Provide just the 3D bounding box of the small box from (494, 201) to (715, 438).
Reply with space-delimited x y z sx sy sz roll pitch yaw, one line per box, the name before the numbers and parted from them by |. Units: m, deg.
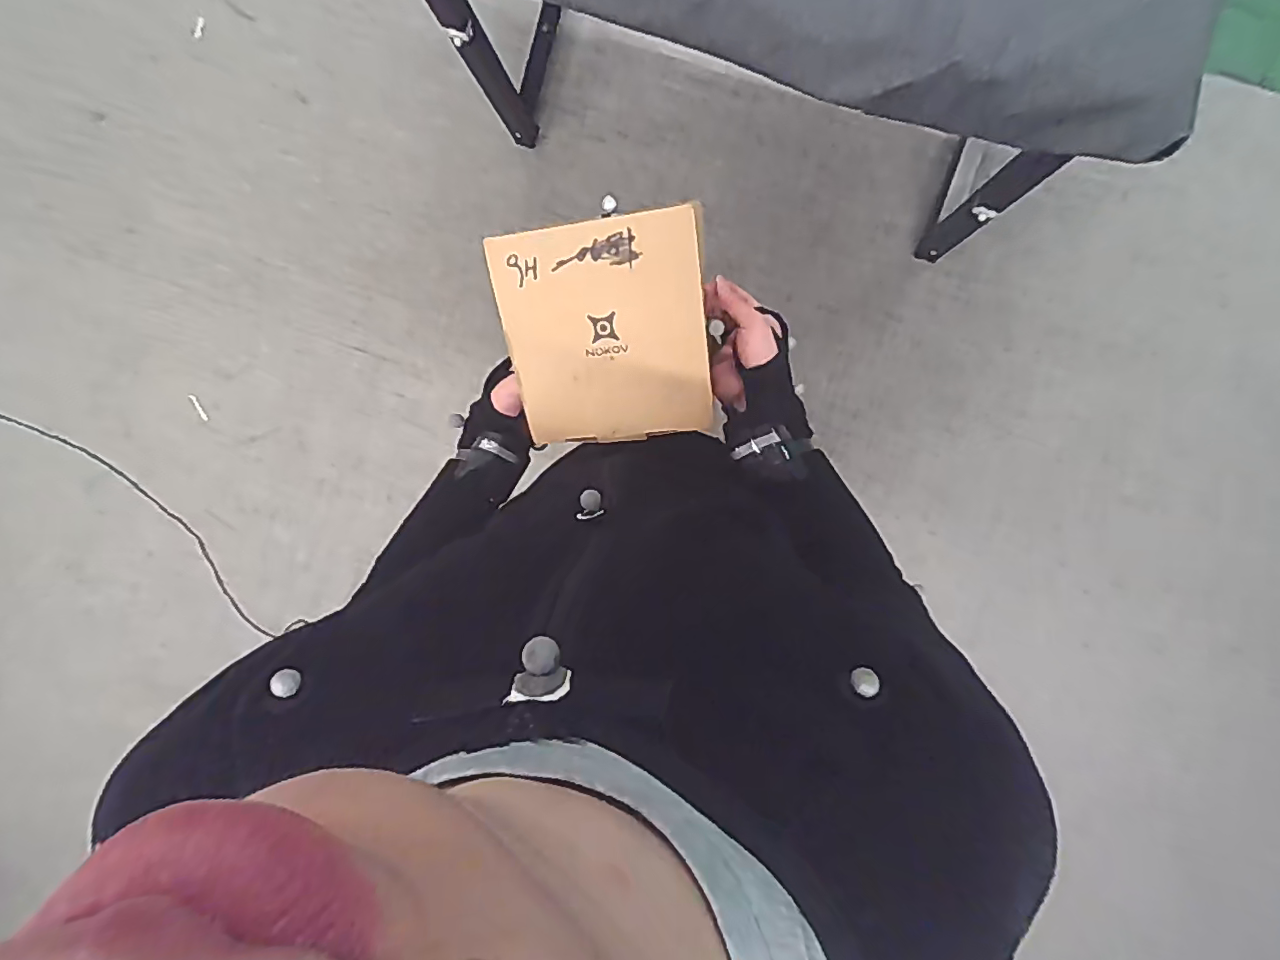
small box | -0.015 -0.158 0.520 0.168 0.176 0.179 -4 118 9
